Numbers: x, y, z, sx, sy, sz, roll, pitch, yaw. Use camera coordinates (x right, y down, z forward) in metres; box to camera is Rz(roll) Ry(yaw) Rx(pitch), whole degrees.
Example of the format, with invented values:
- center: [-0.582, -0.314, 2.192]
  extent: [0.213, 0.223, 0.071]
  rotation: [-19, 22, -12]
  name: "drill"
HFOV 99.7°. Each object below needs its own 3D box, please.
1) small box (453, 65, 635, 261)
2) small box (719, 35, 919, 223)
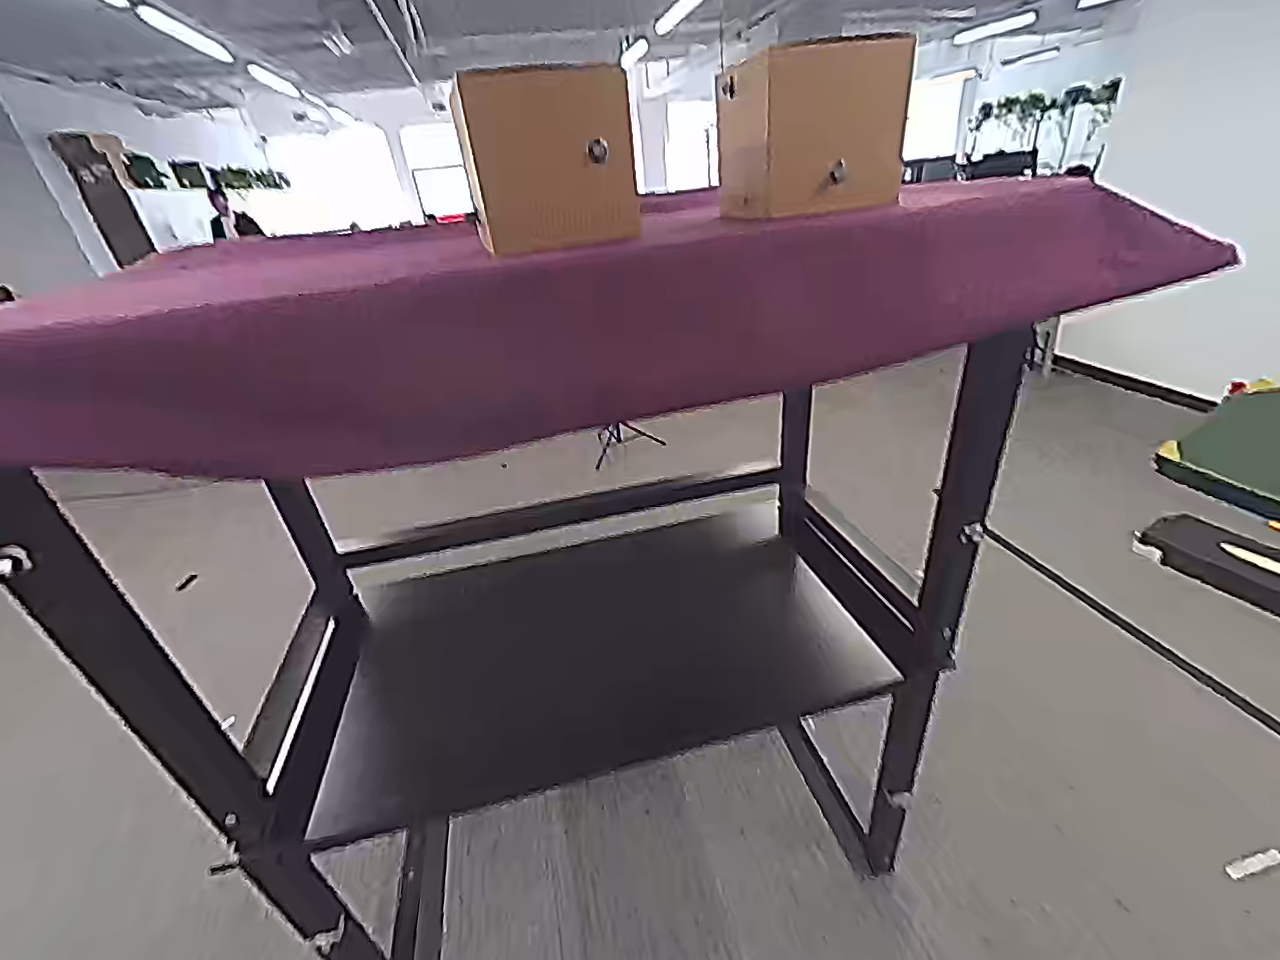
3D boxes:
- center: [-0.110, -0.367, 0.640]
  extent: [0.179, 0.176, 0.168]
  rotation: [-15, 29, -14]
  name: "small box"
- center: [0.206, -0.425, 0.673]
  extent: [0.179, 0.176, 0.168]
  rotation: [-11, 28, -9]
  name: "small box"
